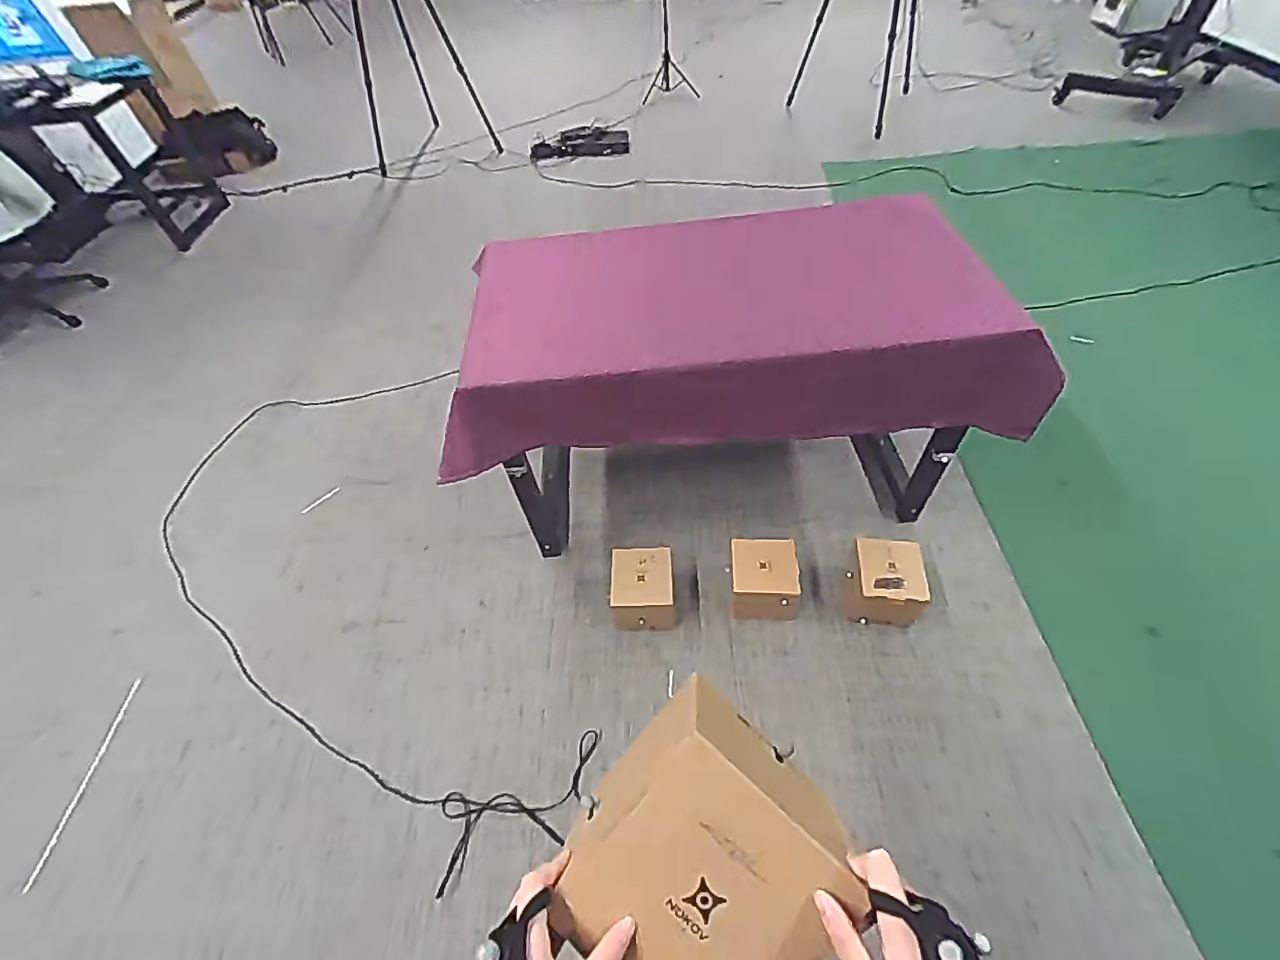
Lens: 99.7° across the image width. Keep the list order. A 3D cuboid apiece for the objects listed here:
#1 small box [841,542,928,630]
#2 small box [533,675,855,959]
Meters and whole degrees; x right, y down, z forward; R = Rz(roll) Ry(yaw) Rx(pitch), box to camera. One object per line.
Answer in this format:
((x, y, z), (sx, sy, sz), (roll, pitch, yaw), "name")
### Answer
((0.662, 0.293, 1.485), (0.168, 0.176, 0.179), (4, 47, 7), "small box")
((0.045, 0.303, 0.463), (0.168, 0.176, 0.179), (41, 91, 8), "small box")
